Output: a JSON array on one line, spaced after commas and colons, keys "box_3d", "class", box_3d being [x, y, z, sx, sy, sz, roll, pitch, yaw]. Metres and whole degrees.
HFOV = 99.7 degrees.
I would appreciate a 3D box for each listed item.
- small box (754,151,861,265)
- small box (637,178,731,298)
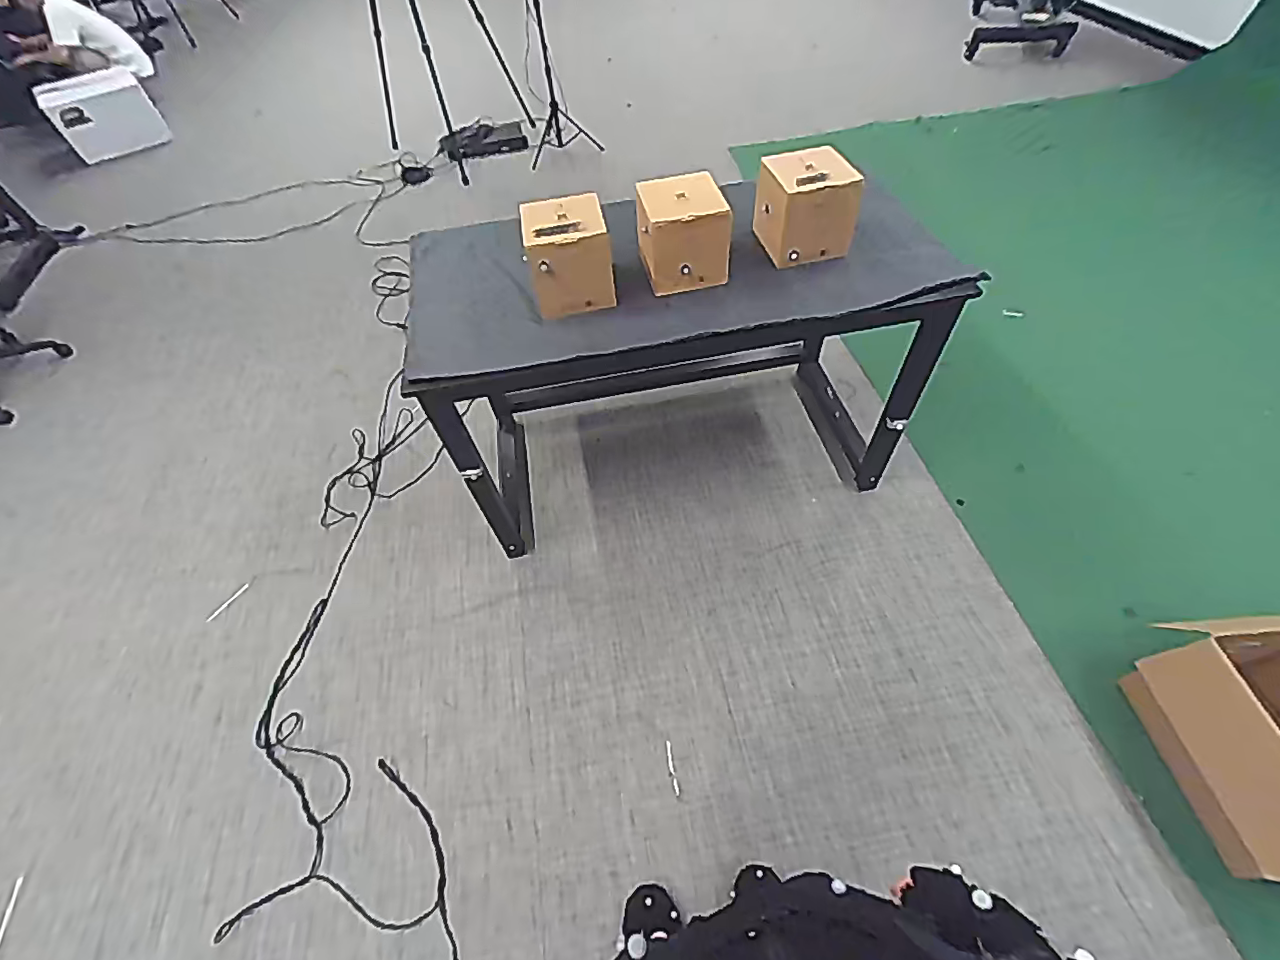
[{"box_3d": [0.364, -0.600, 1.210, 0.168, 0.176, 0.179, -12, 53, -4], "class": "small box"}, {"box_3d": [0.091, -0.529, 1.185, 0.168, 0.176, 0.179, -12, 54, -4], "class": "small box"}]
